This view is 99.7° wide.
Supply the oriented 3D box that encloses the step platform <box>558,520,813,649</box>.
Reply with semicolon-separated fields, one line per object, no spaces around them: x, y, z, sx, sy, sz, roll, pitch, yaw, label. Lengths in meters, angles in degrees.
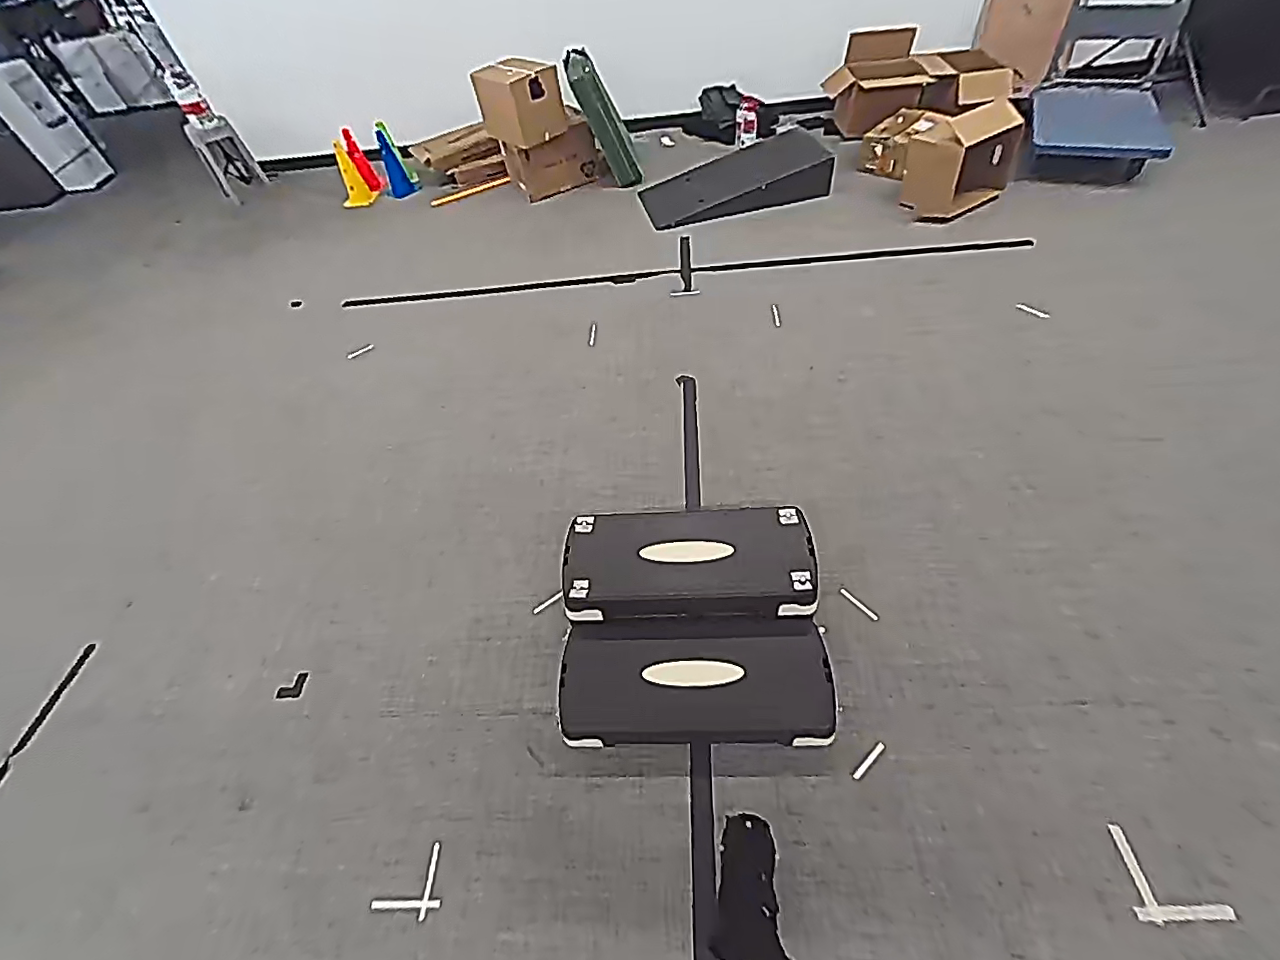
0.117;0.284;1.489;0.684;0.204;0.286;-3;51;4;step platform
